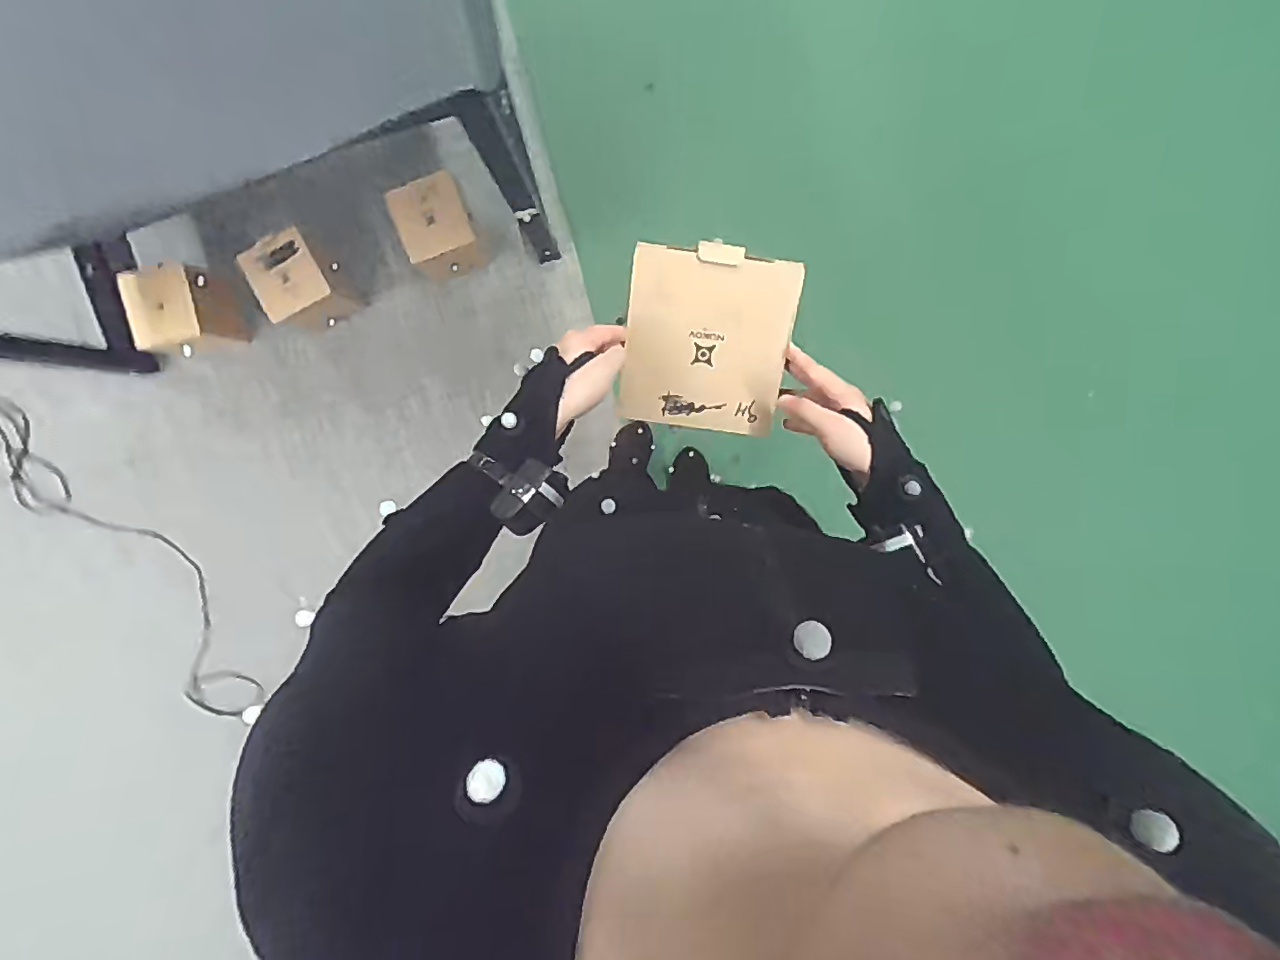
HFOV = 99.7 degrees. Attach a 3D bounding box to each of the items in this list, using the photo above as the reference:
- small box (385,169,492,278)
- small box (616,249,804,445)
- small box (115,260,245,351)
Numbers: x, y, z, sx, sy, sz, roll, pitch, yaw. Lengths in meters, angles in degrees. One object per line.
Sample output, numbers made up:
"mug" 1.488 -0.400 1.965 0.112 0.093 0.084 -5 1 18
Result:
"small box" -0.487 -0.618 1.333 0.168 0.176 0.179 -20 95 1
"small box" 0.069 -0.157 0.613 0.168 0.176 0.179 8 113 1
"small box" -1.139 -0.426 1.355 0.168 0.176 0.179 -11 95 1
